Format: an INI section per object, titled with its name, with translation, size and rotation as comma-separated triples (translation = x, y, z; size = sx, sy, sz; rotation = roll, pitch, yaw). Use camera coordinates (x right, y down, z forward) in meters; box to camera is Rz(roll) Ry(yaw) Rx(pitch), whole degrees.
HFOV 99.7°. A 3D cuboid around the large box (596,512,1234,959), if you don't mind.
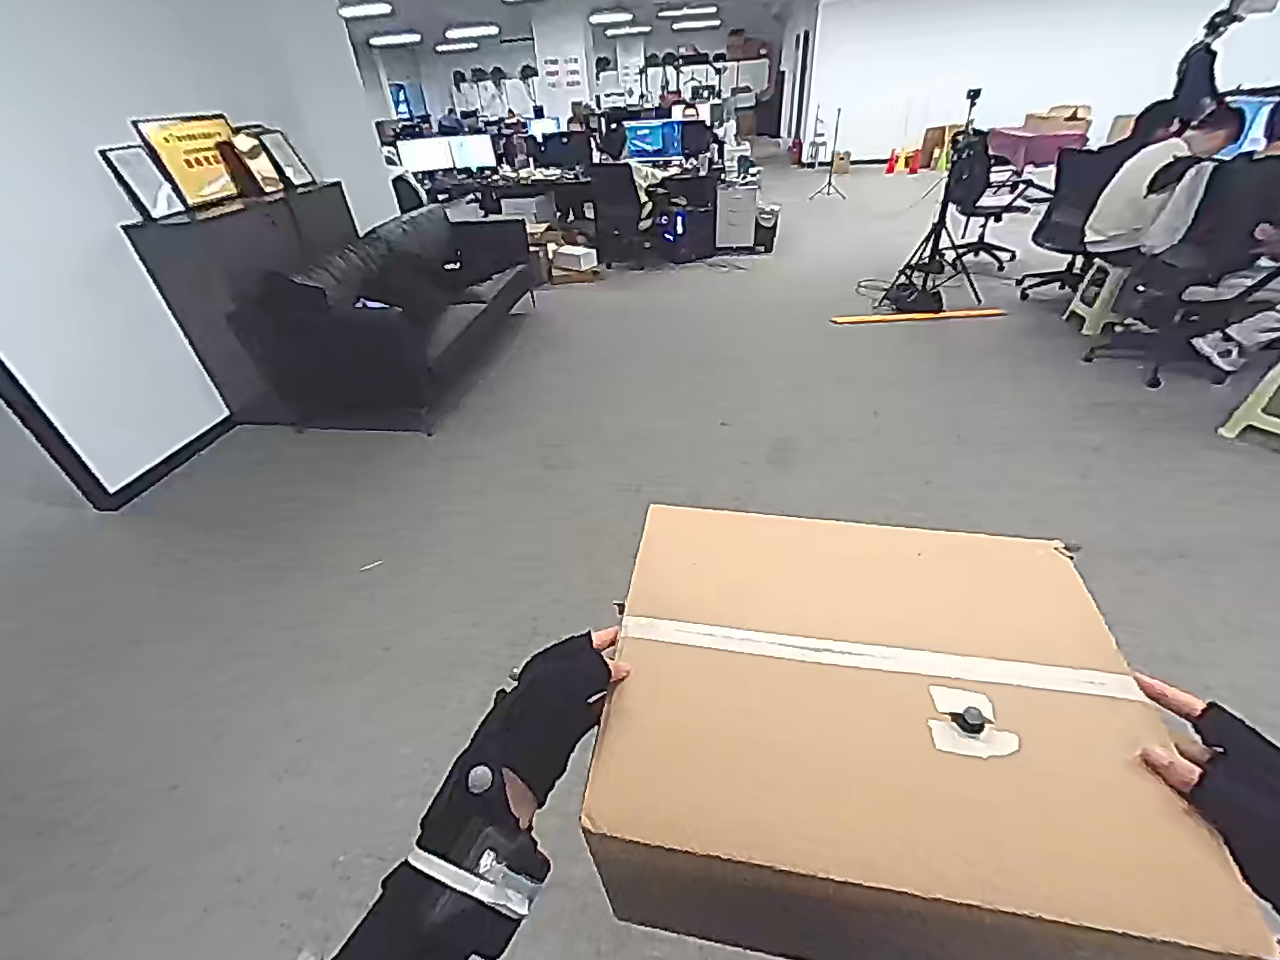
[large box]
translation = 0.191, 0.259, 0.557
size = 0.408, 0.320, 0.320
rotation = 4, 43, 9
